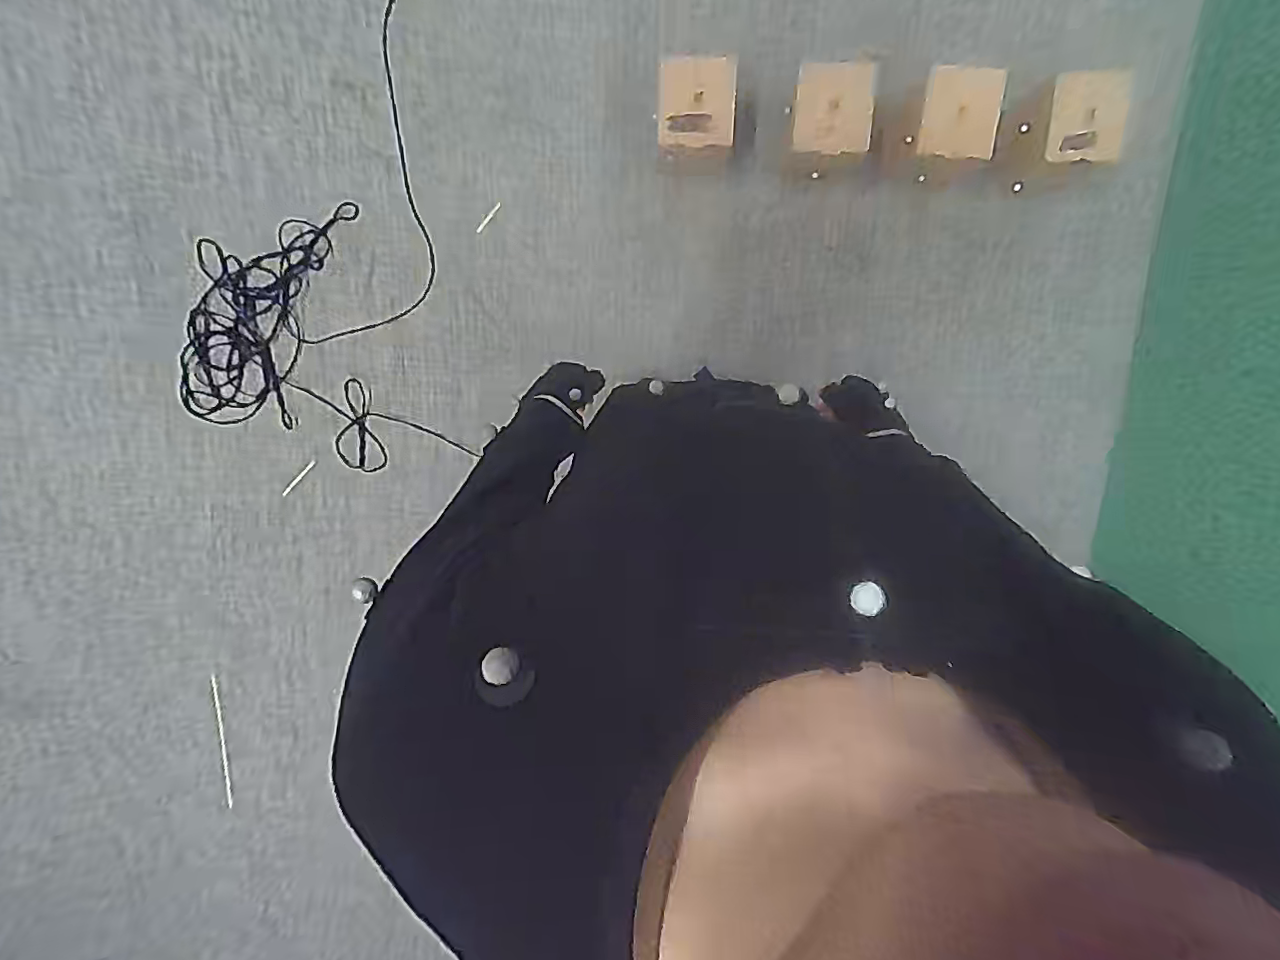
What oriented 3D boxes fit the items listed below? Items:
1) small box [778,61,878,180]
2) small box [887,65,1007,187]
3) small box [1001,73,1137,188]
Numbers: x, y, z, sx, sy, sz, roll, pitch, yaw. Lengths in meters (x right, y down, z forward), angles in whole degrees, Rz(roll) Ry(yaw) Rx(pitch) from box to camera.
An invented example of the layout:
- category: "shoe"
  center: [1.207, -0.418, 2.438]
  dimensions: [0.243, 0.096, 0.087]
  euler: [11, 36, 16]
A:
- category: "small box"
  center: [0.418, -0.809, 1.231]
  dimensions: [0.168, 0.176, 0.179]
  euler: [3, 102, 2]
- category: "small box"
  center: [0.686, -0.795, 1.228]
  dimensions: [0.168, 0.176, 0.179]
  euler: [5, 102, 0]
- category: "small box"
  center: [0.954, -0.779, 1.222]
  dimensions: [0.168, 0.176, 0.179]
  euler: [2, 101, 1]
